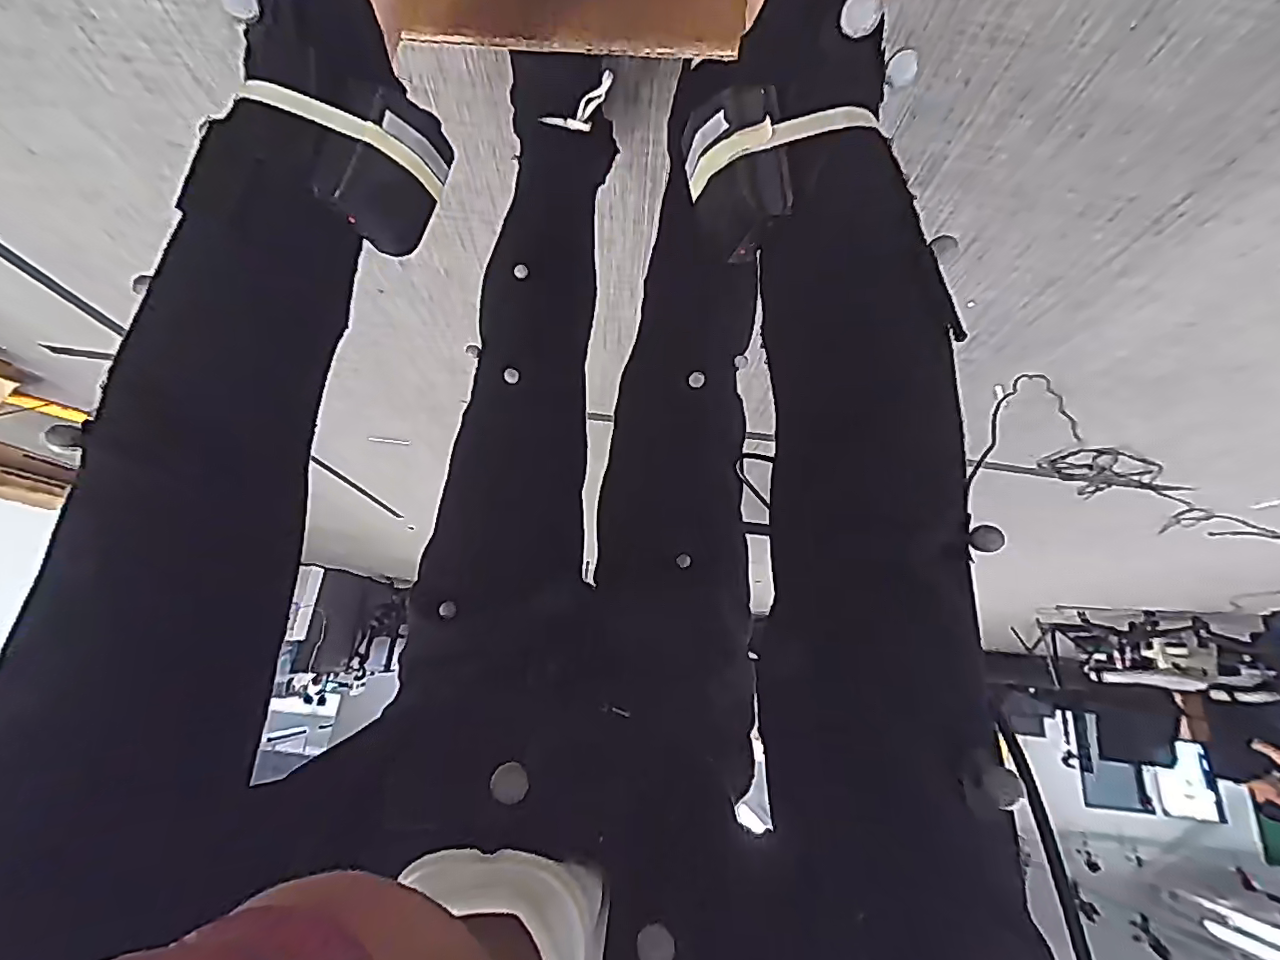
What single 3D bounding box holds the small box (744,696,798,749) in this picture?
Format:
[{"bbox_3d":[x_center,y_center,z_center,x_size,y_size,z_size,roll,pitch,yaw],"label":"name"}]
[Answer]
[{"bbox_3d":[0.520,0.954,2.143,0.168,0.176,0.179,7,161,-5],"label":"small box"}]
